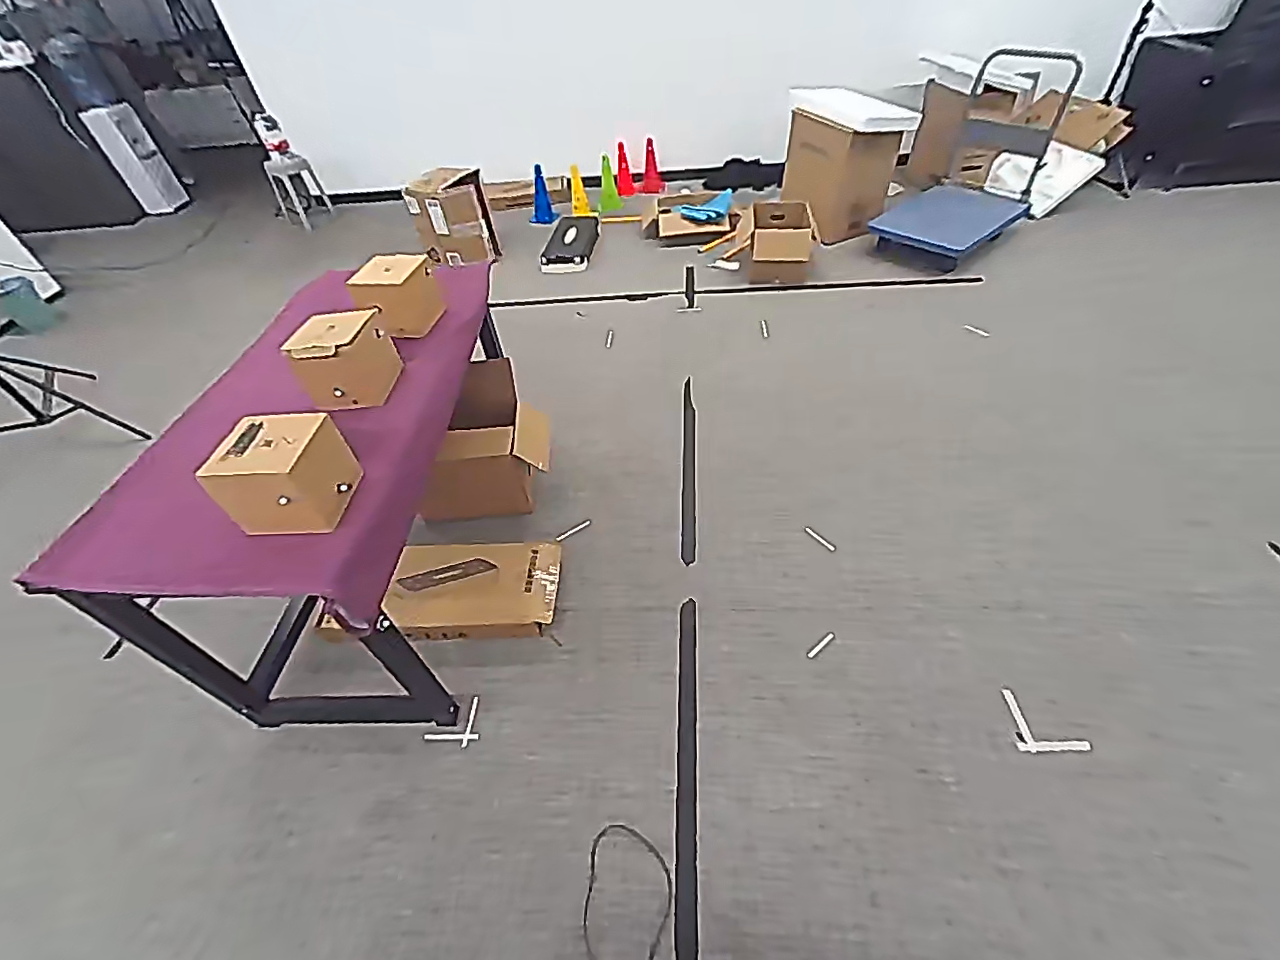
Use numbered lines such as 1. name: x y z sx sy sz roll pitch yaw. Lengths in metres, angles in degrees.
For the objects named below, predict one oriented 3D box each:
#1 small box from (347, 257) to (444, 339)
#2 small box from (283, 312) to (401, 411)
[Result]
1. small box: -0.686 -0.516 1.543 0.168 0.176 0.179 2 46 9
2. small box: -0.713 -0.289 1.322 0.168 0.176 0.179 -5 46 5
